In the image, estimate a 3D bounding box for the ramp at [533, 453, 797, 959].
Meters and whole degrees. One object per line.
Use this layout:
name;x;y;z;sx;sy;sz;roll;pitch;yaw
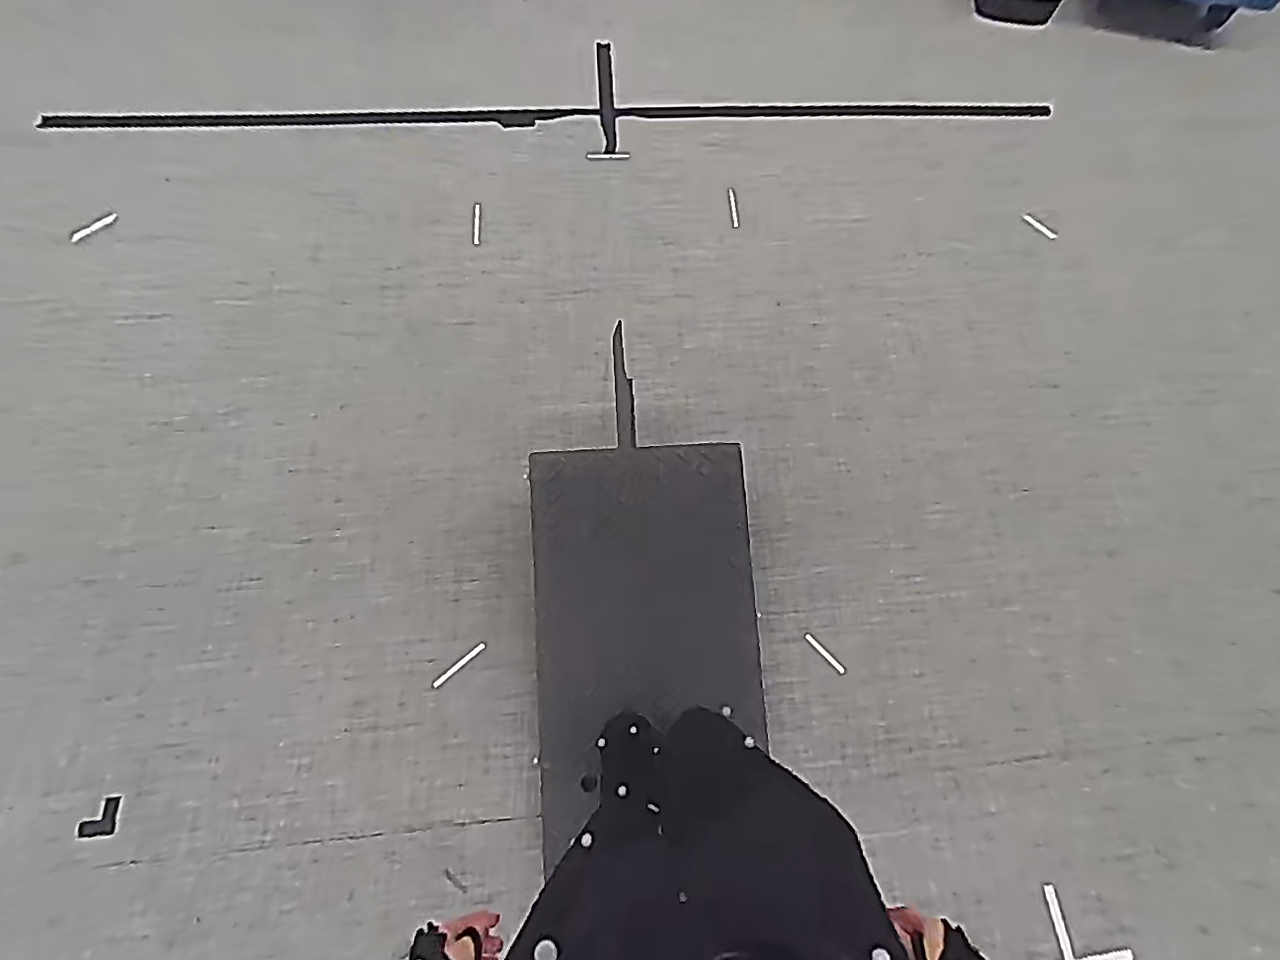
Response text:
ramp;0.043;0.443;1.166;0.509;0.206;0.991;-5;71;-6
